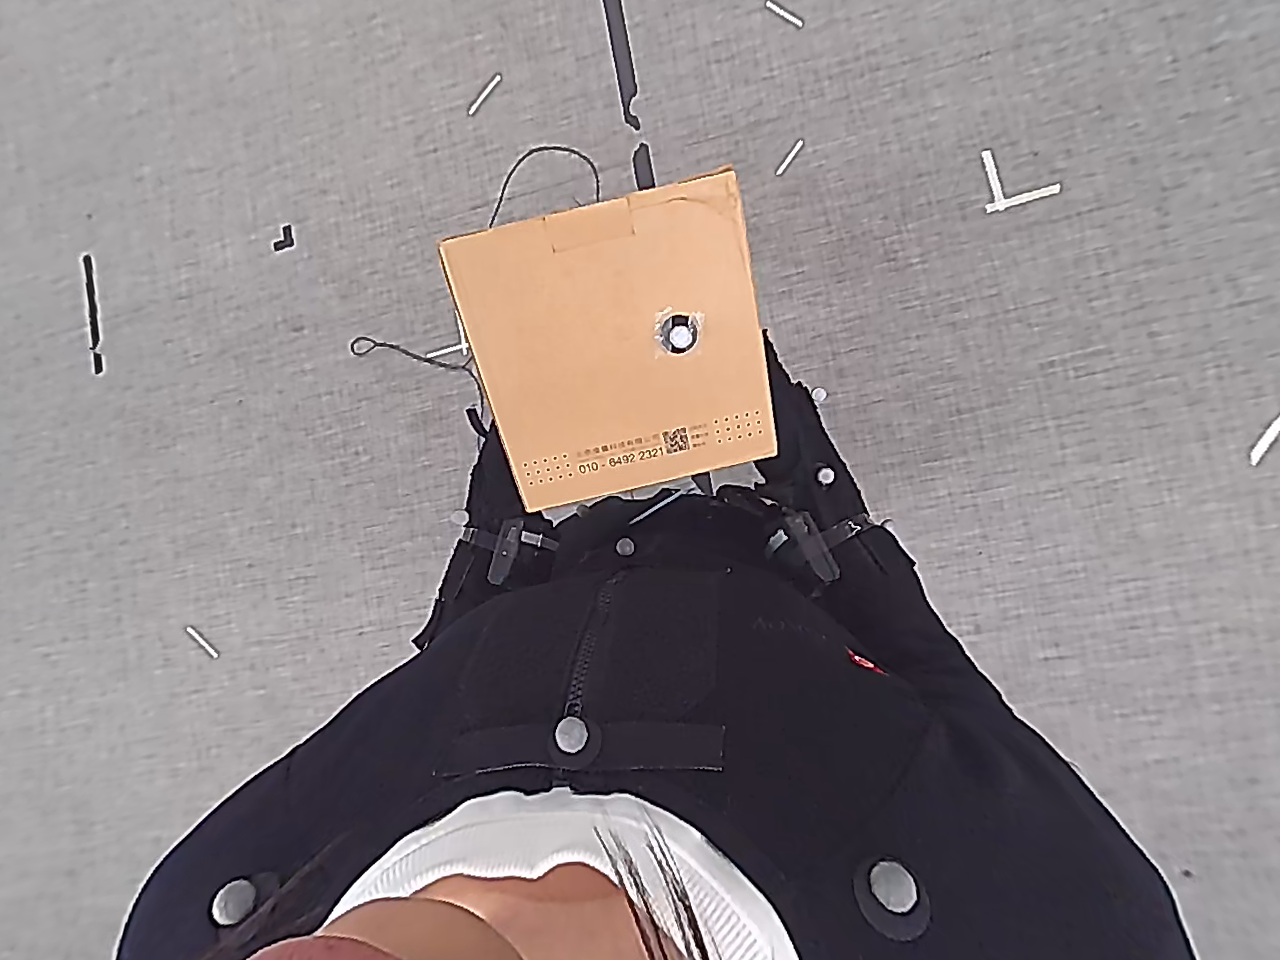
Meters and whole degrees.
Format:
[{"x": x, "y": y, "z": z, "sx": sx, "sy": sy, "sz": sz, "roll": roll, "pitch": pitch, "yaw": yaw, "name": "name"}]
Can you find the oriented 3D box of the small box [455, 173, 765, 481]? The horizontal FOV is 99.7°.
[{"x": -0.012, "y": -0.109, "z": 0.409, "sx": 0.168, "sy": 0.179, "sz": 0.176, "roll": -12, "pitch": 112, "yaw": 3, "name": "small box"}]
